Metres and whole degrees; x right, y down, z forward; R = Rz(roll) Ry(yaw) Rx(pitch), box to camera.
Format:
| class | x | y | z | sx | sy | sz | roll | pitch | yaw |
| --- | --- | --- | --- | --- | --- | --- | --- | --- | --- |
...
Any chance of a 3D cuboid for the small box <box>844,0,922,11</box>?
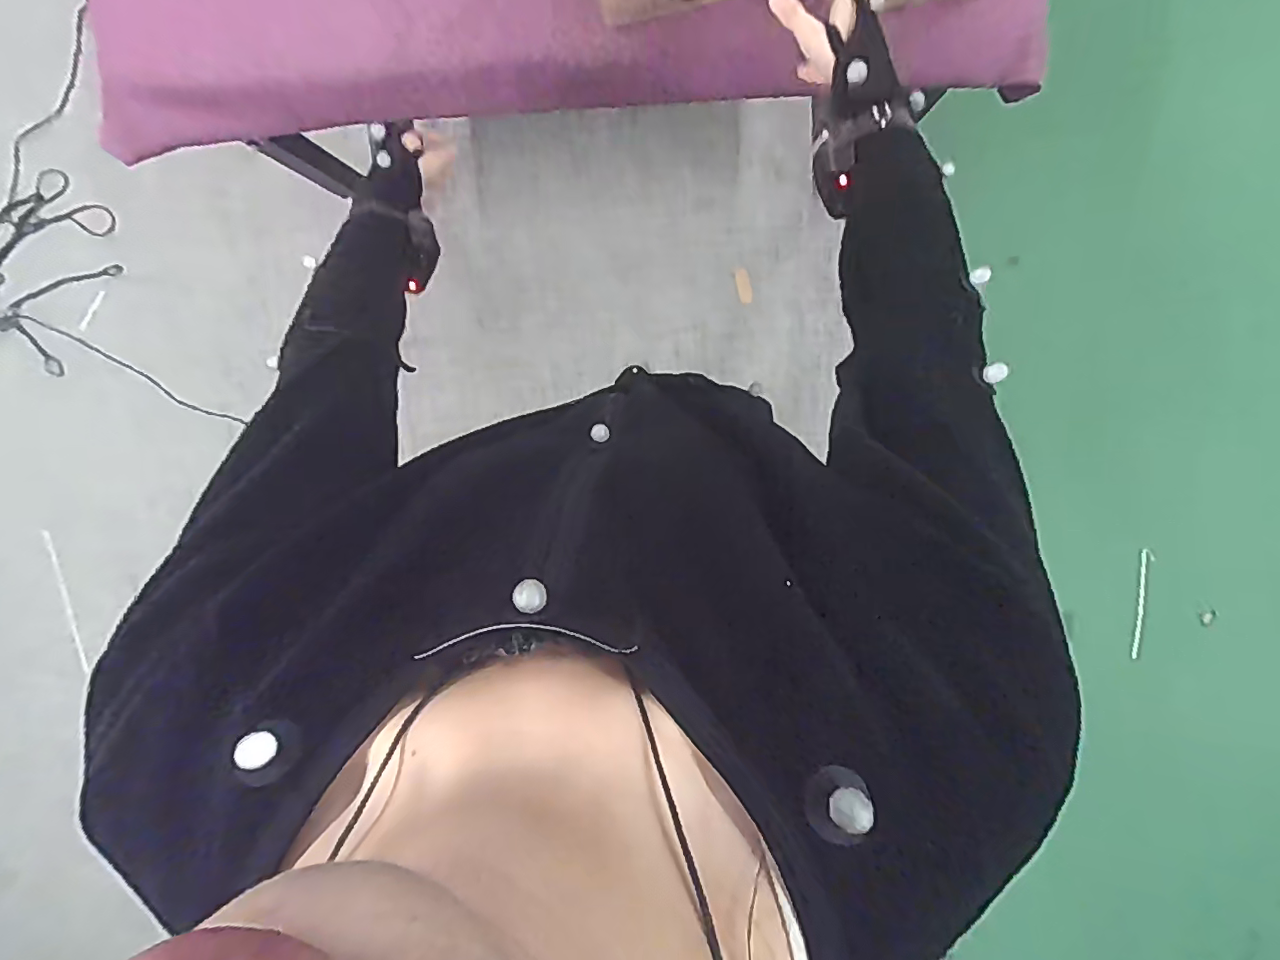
| class | x | y | z | sx | sy | sz | roll | pitch | yaw |
| --- | --- | --- | --- | --- | --- | --- | --- | --- | --- |
| small box | 0.318 | -0.637 | 0.554 | 0.179 | 0.176 | 0.168 | -6 | 99 | 6 |

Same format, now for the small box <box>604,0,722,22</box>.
| class | x | y | z | sx | sy | sz | roll | pitch | yaw |
| --- | --- | --- | --- | --- | --- | --- | --- | --- | --- |
| small box | 0.021 | -0.650 | 0.574 | 0.168 | 0.176 | 0.179 | -8 | 99 | 6 |
